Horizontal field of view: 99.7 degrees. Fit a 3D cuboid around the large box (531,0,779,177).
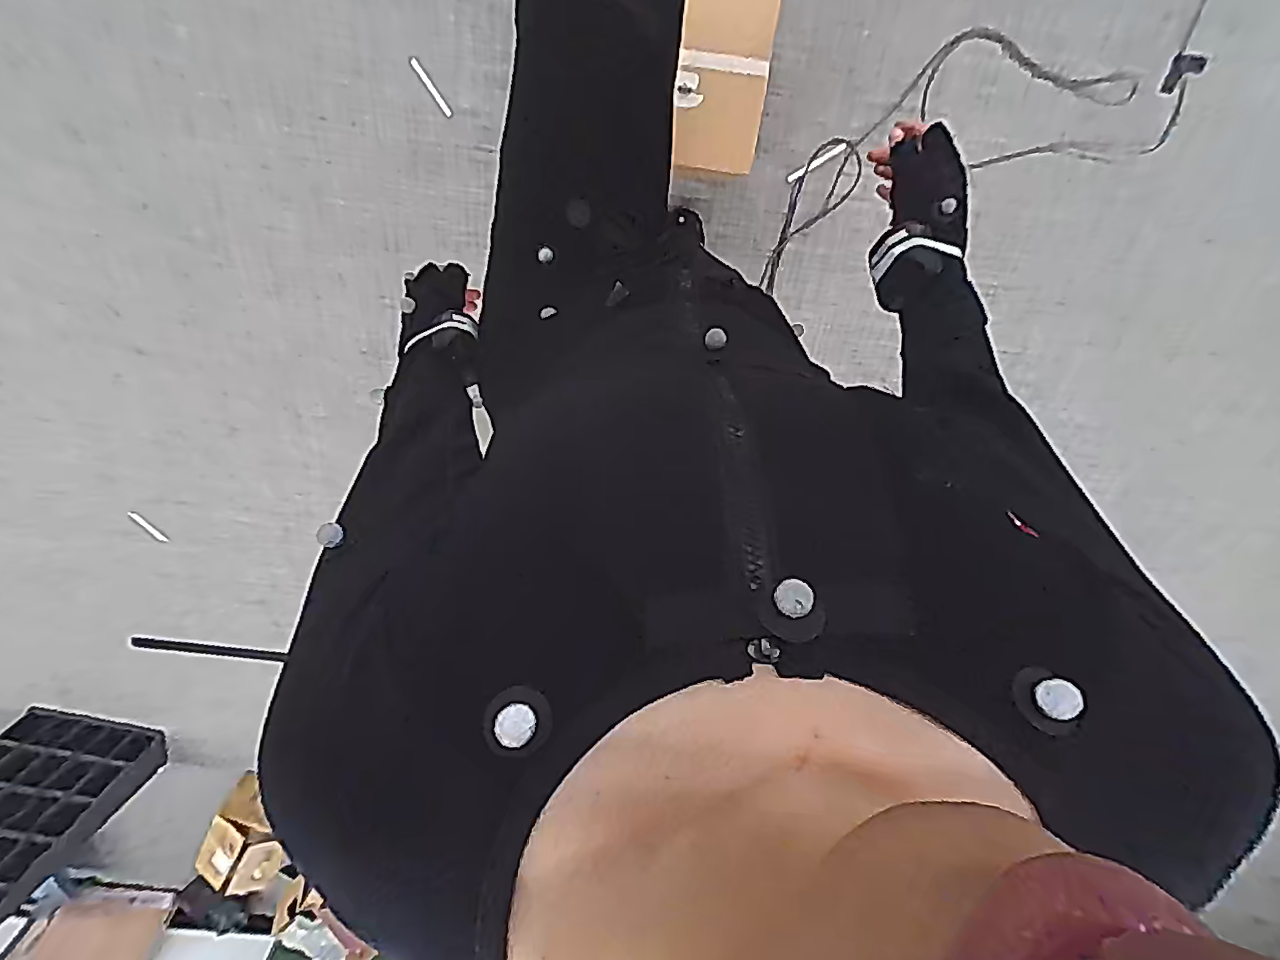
[{"bbox_3d":[0.017,-0.785,1.036,0.408,0.320,0.320,6,117,-3],"label":"large box"}]
